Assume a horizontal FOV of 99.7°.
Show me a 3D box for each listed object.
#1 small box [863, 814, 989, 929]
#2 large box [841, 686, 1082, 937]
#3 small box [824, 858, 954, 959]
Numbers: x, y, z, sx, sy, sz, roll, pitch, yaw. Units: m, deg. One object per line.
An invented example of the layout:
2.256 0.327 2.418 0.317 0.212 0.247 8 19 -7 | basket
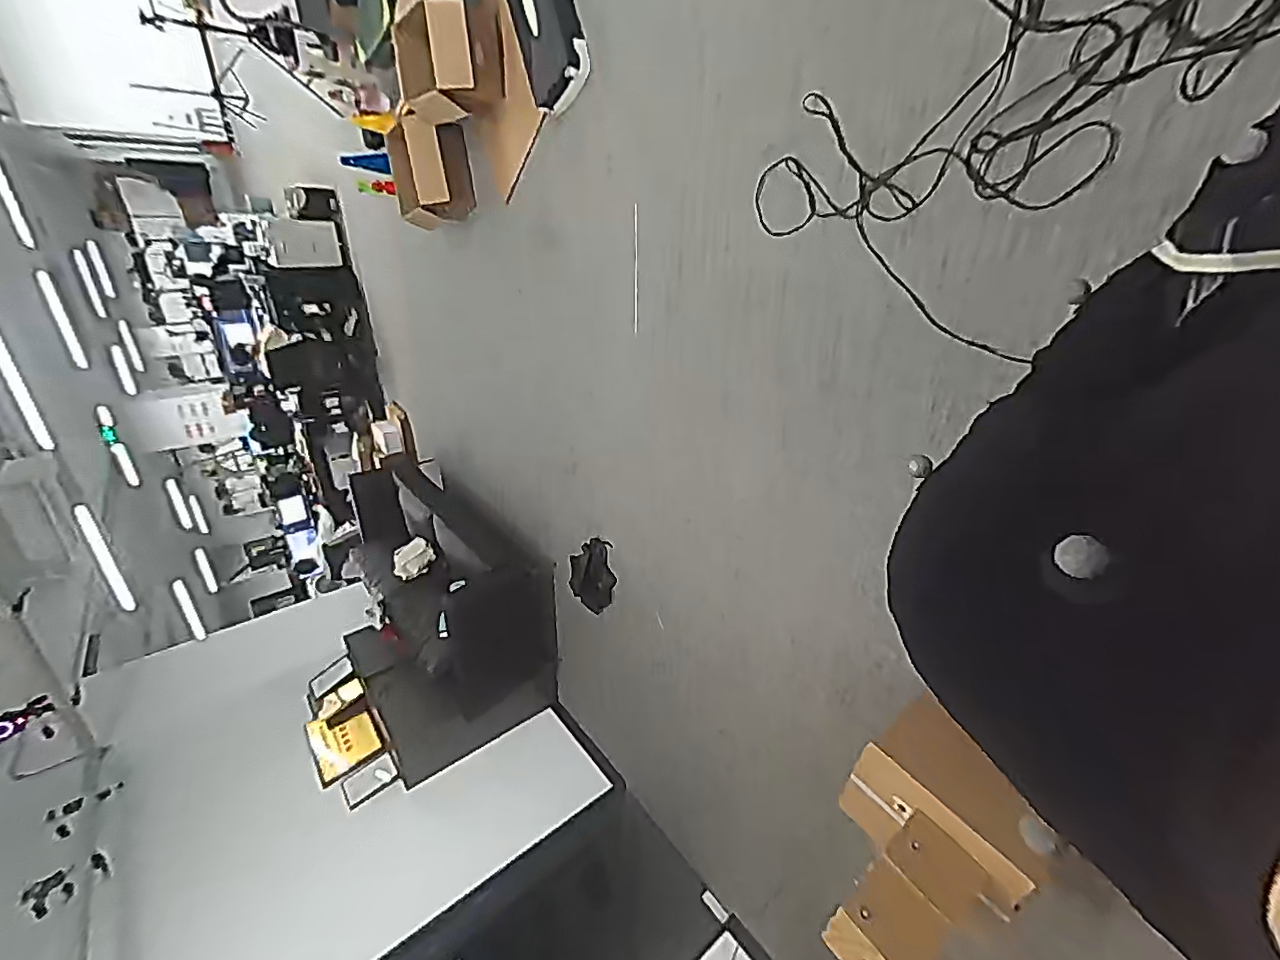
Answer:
0.663 0.923 1.260 0.179 0.176 0.168 36 134 38 | small box
0.826 0.844 1.427 0.408 0.320 0.320 37 132 40 | large box
0.540 0.983 1.173 0.179 0.176 0.168 37 134 40 | small box
